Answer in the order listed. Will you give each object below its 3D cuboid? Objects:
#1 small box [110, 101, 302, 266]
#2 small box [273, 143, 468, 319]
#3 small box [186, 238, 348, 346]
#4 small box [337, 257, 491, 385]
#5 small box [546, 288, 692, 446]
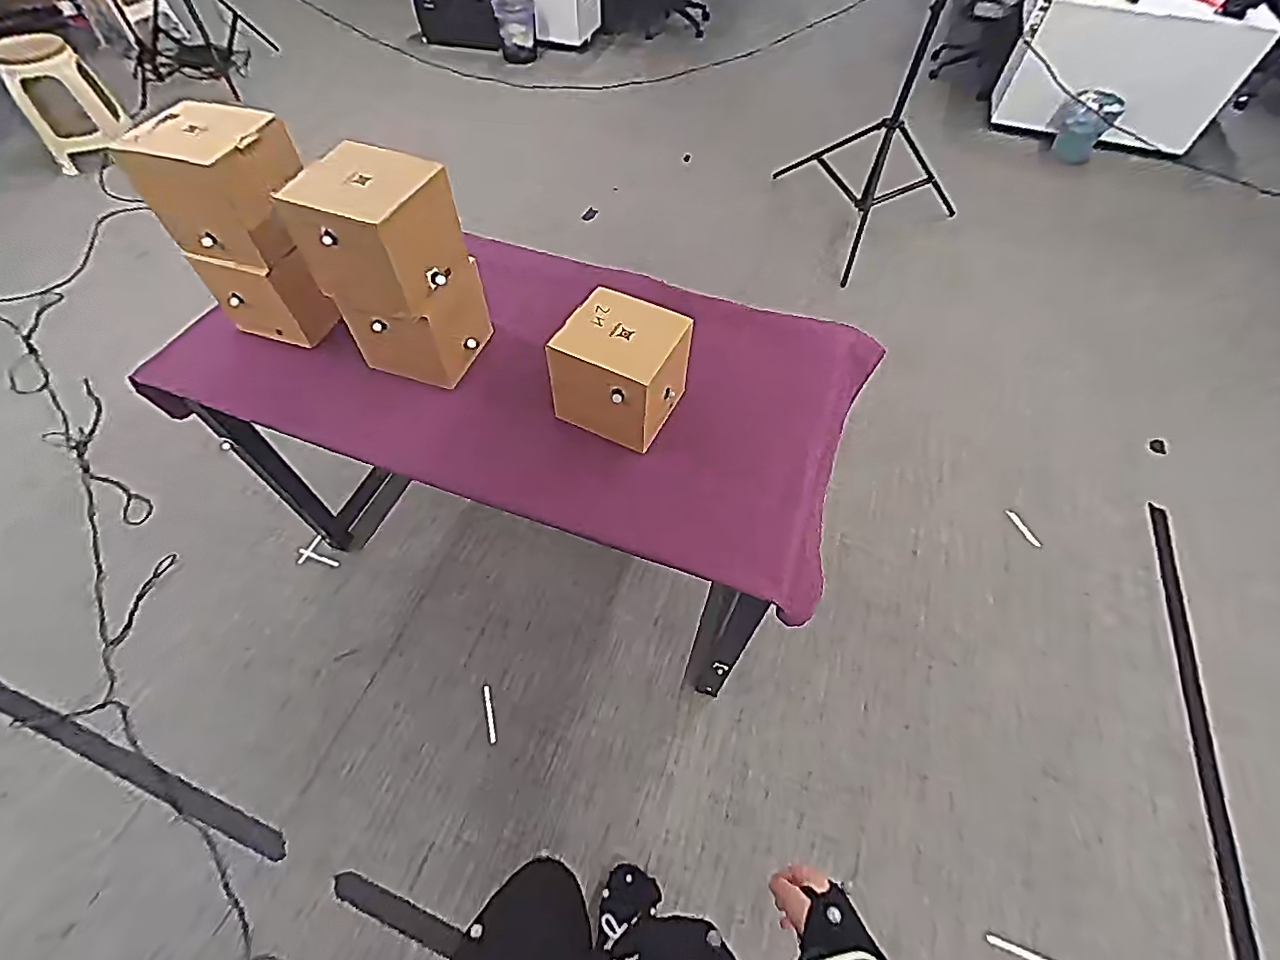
[{"bbox_3d":[-0.668,-0.476,0.882,0.179,0.176,0.168,14,56,6],"label":"small box"},{"bbox_3d":[-0.392,-0.373,0.824,0.179,0.176,0.168,19,59,9],"label":"small box"},{"bbox_3d":[-0.670,-0.379,1.014,0.168,0.176,0.179,15,57,8],"label":"small box"},{"bbox_3d":[-0.391,-0.295,0.965,0.179,0.176,0.168,16,58,8],"label":"small box"},{"bbox_3d":[-0.031,-0.181,0.901,0.179,0.176,0.168,24,58,14],"label":"small box"}]
